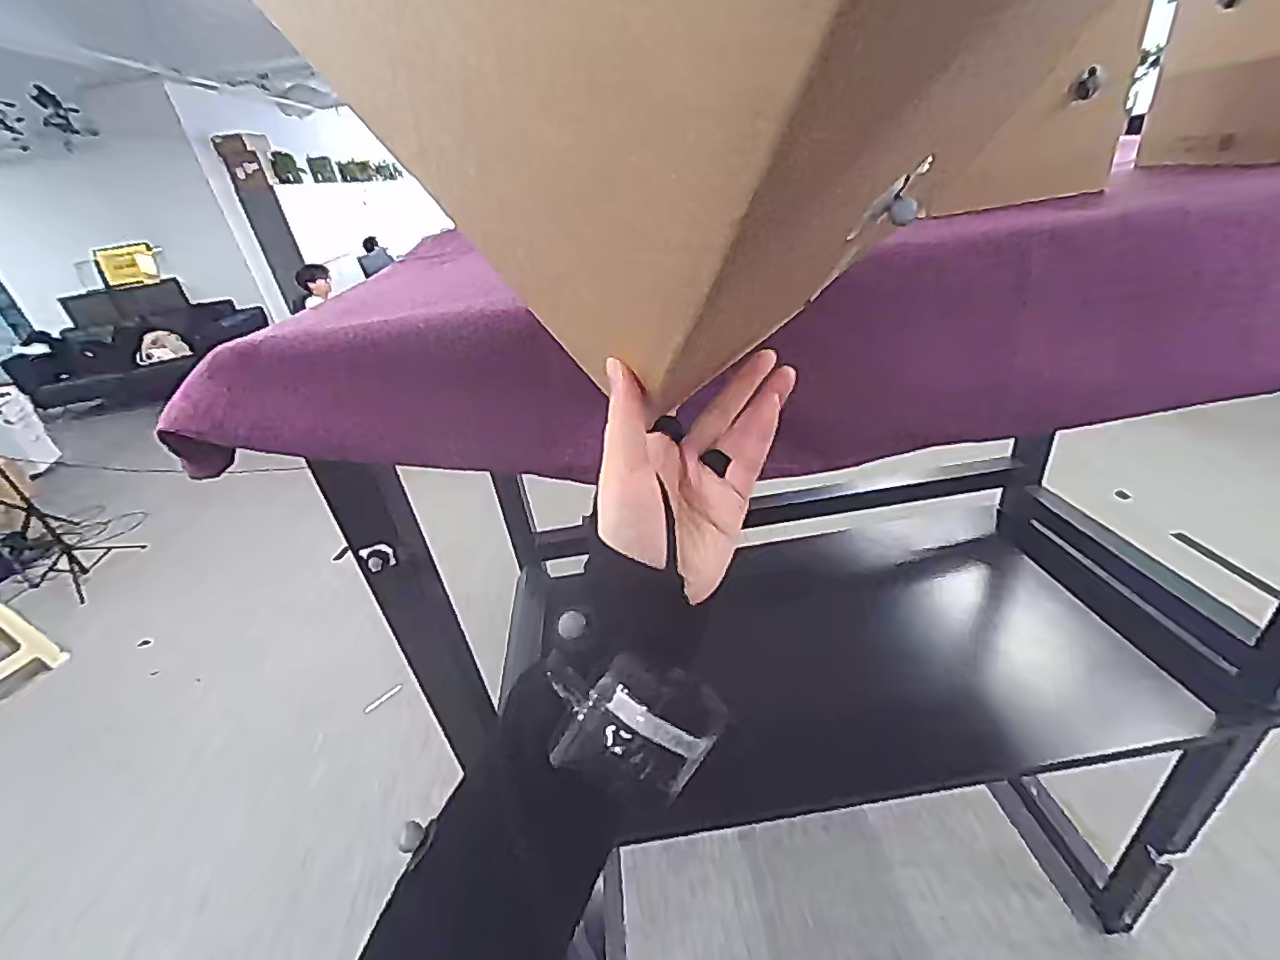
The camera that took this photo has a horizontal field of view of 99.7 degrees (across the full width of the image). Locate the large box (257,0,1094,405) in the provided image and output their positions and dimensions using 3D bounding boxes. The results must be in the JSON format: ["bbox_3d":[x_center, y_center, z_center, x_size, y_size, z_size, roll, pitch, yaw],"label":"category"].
[{"bbox_3d":[0.004,-0.314,0.230,0.320,0.320,0.408,-39,81,-19],"label":"large box"}]

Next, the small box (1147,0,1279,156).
[{"bbox_3d":[0.652,-0.417,0.513,0.179,0.176,0.168,-9,29,1],"label":"small box"}]

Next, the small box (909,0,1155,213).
[{"bbox_3d":[0.339,-0.375,0.537,0.179,0.176,0.168,-9,29,1],"label":"small box"}]
